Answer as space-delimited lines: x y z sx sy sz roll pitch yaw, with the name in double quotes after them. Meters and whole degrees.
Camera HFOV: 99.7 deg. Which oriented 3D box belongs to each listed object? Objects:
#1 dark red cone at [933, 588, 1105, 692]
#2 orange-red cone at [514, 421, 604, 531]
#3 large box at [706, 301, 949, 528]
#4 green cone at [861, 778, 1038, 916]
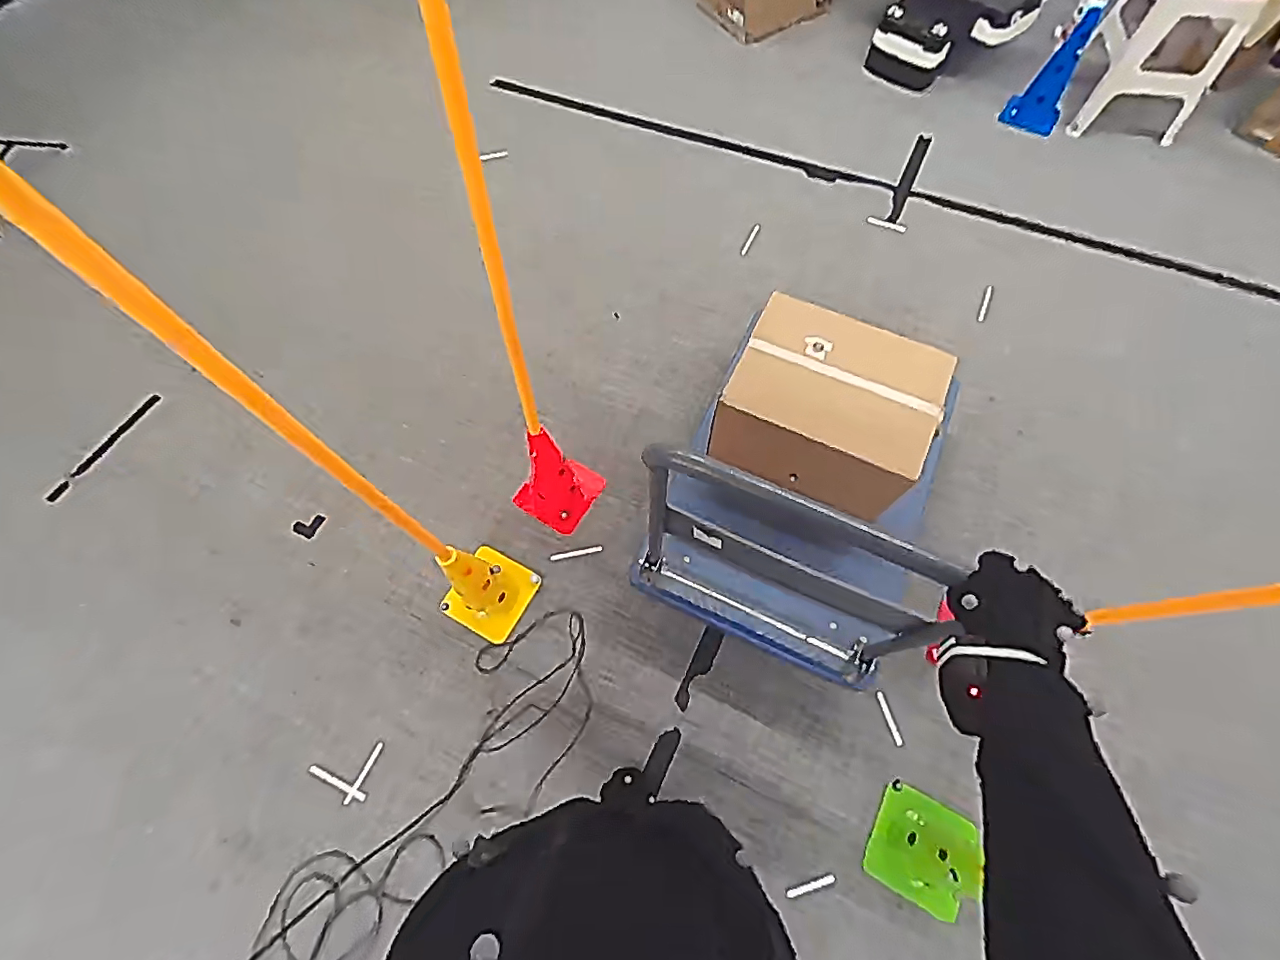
0.827 0.318 1.163 0.201 0.394 0.202 24 69 9 "dark red cone"
-0.227 -0.045 1.370 0.198 0.360 0.199 31 69 13 "orange-red cone"
0.402 -0.137 1.239 0.408 0.320 0.320 24 70 12 "large box"
0.597 0.716 1.008 0.202 0.368 0.200 28 69 11 "green cone"
